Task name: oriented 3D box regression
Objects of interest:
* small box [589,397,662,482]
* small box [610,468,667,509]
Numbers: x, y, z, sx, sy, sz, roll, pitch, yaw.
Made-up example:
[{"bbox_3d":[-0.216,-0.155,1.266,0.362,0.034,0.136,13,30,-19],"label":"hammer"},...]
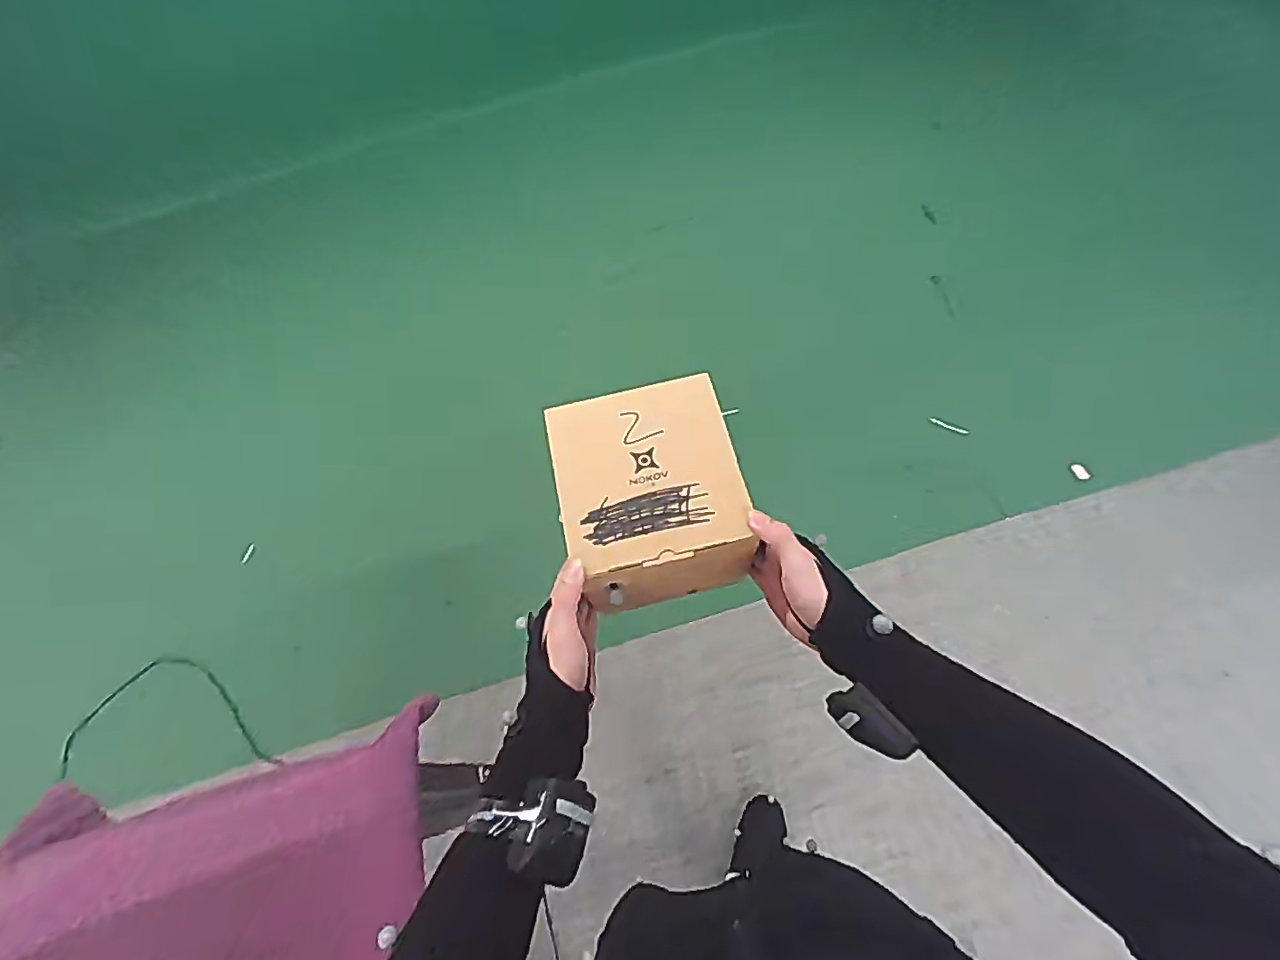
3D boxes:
[{"bbox_3d":[-0.040,-0.111,1.601,0.168,0.176,0.179,-17,59,-1],"label":"small box"},{"bbox_3d":[-0.017,-0.032,1.742,0.168,0.176,0.179,-17,60,-1],"label":"small box"}]
